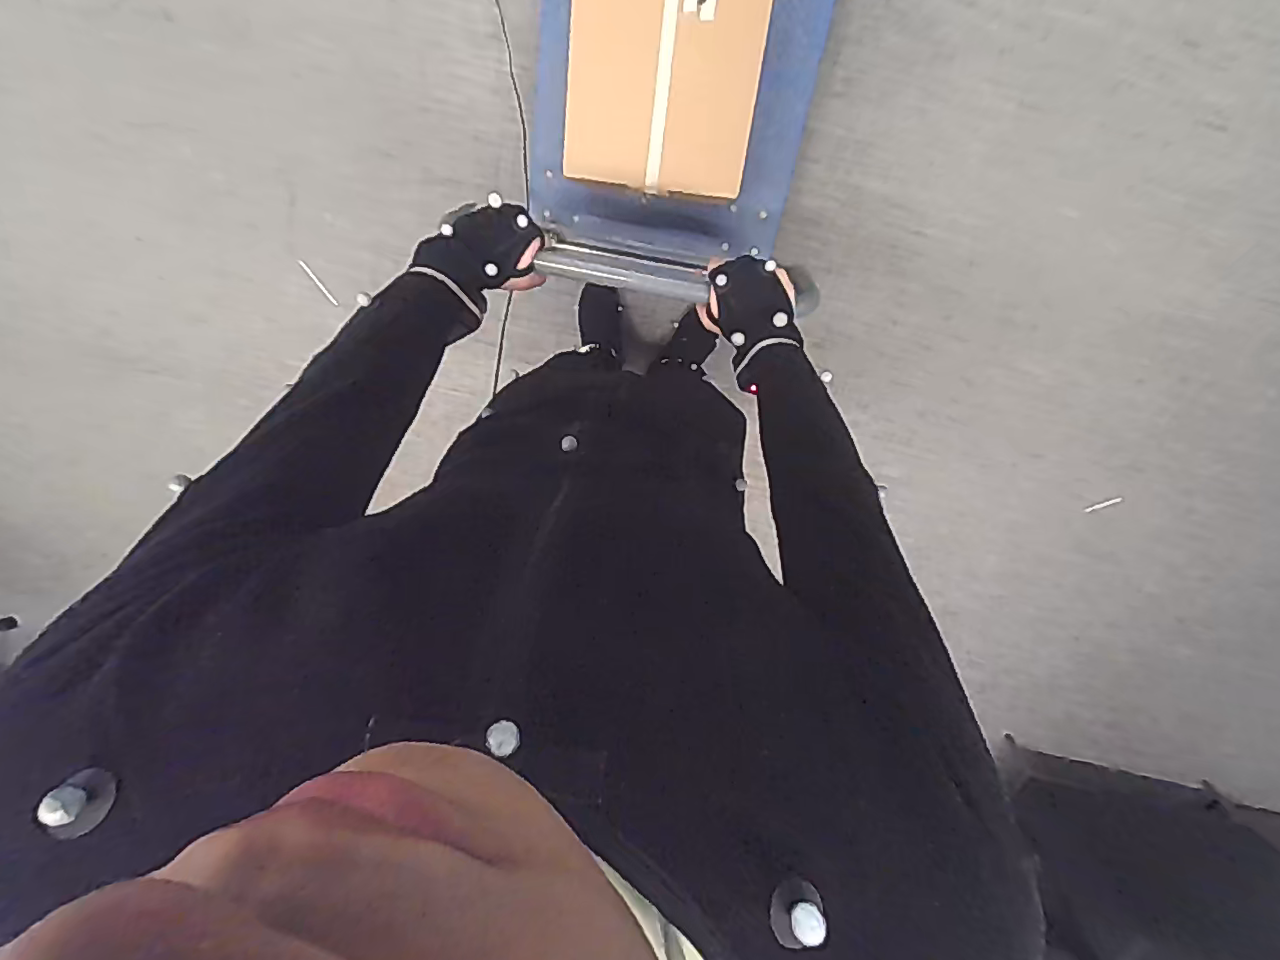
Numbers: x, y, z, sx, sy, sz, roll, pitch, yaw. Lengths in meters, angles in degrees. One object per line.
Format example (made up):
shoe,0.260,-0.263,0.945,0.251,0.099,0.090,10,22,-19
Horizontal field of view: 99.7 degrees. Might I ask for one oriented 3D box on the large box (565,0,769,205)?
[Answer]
large box,0.050,-0.755,1.010,0.320,0.320,0.408,8,115,0
